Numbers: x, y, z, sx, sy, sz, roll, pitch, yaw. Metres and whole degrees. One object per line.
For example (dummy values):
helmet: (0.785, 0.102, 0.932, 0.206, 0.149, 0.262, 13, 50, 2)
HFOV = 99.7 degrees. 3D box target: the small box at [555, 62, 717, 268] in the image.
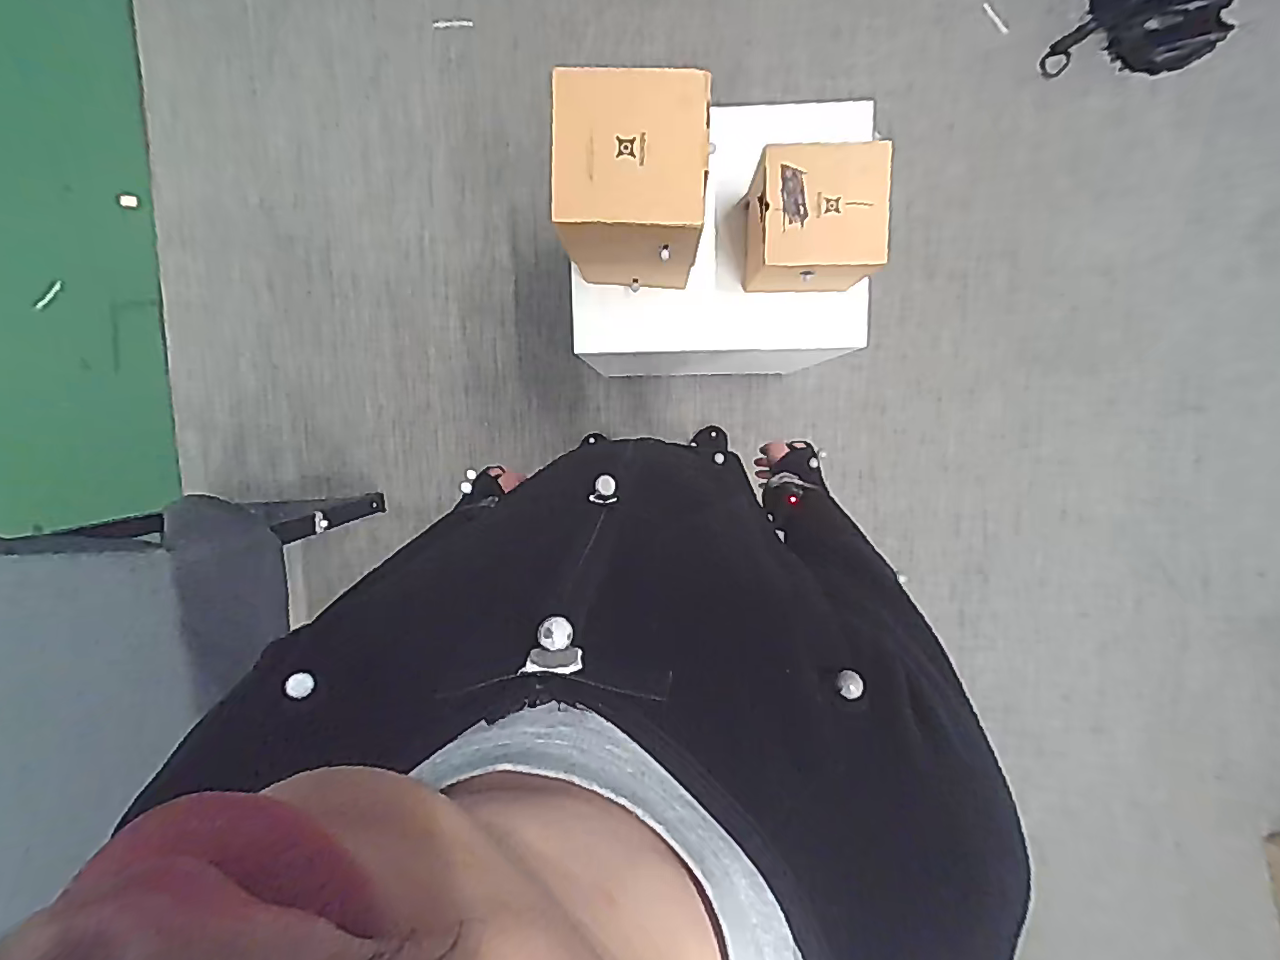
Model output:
small box: (-0.005, -0.368, 0.660, 0.179, 0.176, 0.168, 0, 95, 0)

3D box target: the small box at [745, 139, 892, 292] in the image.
small box: (0.259, -0.389, 0.823, 0.179, 0.176, 0.168, -2, 96, -1)
